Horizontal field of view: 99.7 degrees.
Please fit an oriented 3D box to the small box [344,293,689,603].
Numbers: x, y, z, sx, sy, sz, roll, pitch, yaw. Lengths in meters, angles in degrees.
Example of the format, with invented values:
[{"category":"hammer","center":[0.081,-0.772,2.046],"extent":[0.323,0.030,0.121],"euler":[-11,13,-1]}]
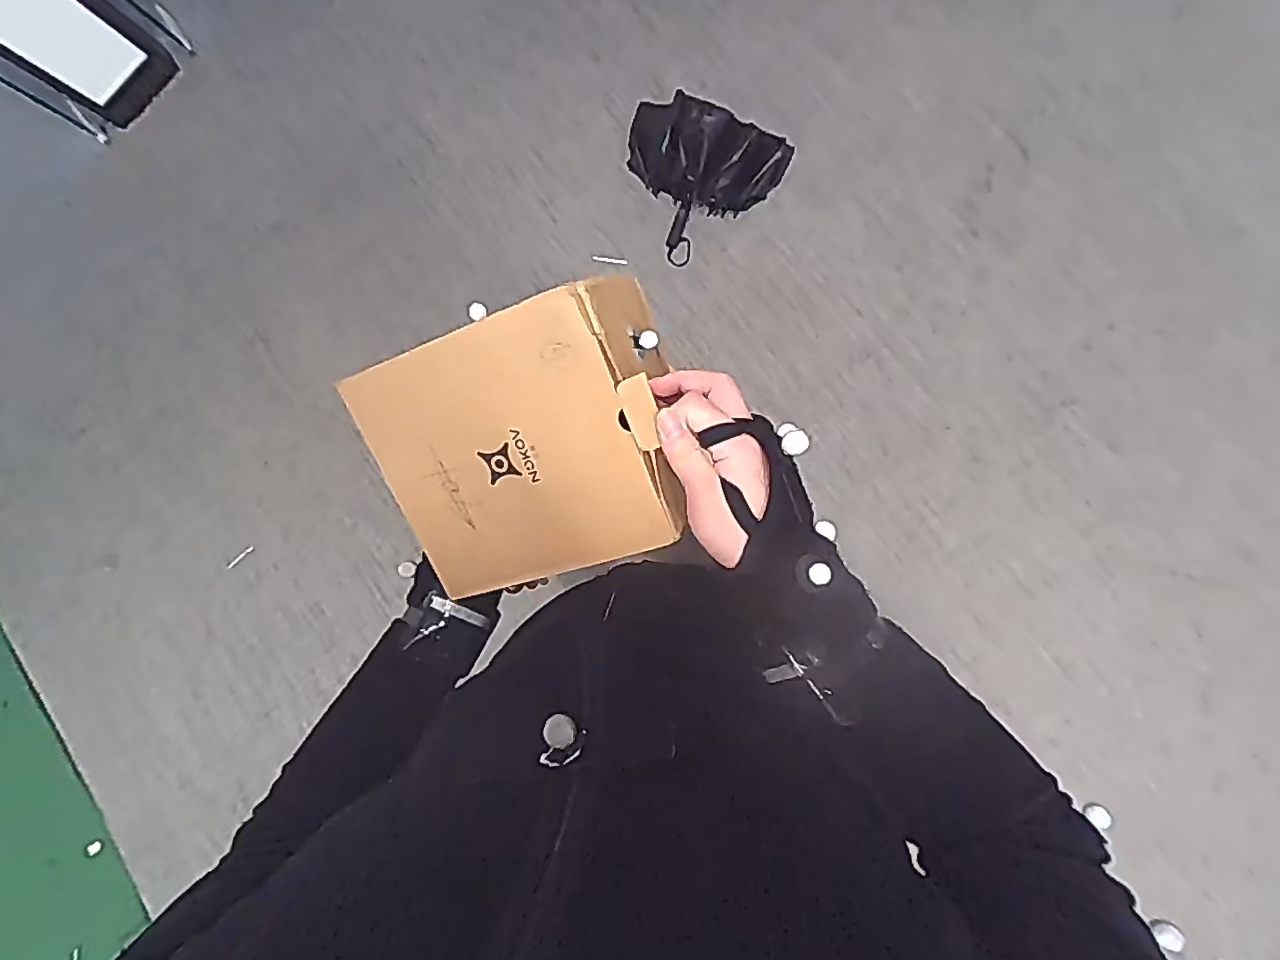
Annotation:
[{"category":"small box","center":[-0.069,-0.035,0.415],"extent":[0.179,0.176,0.168],"euler":[-18,104,18]}]
